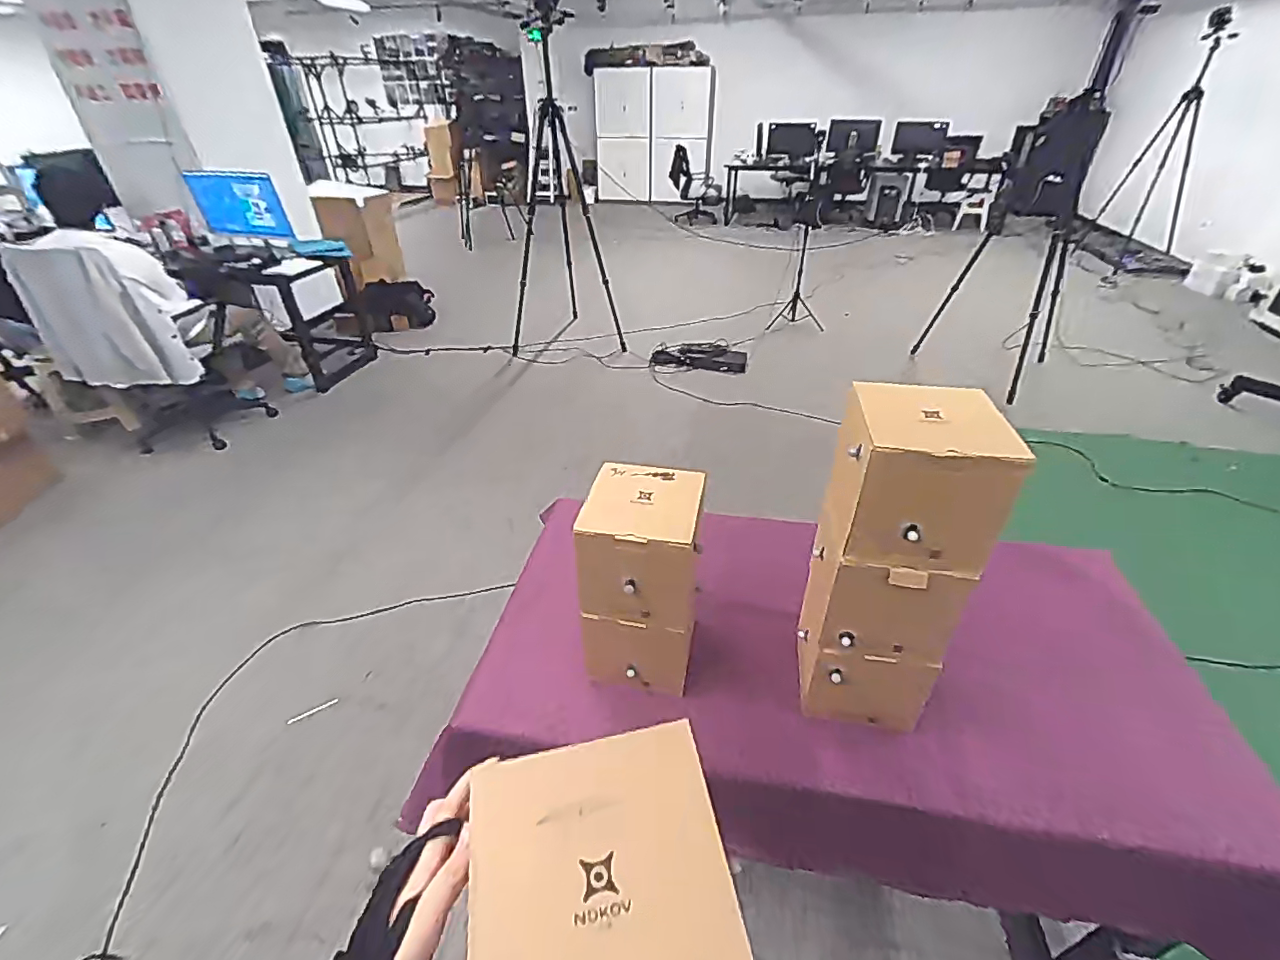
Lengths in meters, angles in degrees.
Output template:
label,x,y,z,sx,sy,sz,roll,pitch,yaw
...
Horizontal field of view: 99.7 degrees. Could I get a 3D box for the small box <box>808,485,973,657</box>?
label,x,y,z,sx,sy,sz,roll,pitch,yaw
small box,0.343,0.129,0.780,0.168,0.176,0.179,5,34,9

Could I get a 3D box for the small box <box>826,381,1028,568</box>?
label,x,y,z,sx,sy,sz,roll,pitch,yaw
small box,0.345,-0.010,0.695,0.168,0.176,0.179,5,35,8

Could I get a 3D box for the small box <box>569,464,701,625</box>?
label,x,y,z,sx,sy,sz,roll,pitch,yaw
small box,0.001,0.098,0.832,0.168,0.176,0.179,6,36,9

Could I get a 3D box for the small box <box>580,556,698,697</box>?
label,x,y,z,sx,sy,sz,roll,pitch,yaw
small box,0.003,0.236,0.923,0.168,0.176,0.179,6,36,10
